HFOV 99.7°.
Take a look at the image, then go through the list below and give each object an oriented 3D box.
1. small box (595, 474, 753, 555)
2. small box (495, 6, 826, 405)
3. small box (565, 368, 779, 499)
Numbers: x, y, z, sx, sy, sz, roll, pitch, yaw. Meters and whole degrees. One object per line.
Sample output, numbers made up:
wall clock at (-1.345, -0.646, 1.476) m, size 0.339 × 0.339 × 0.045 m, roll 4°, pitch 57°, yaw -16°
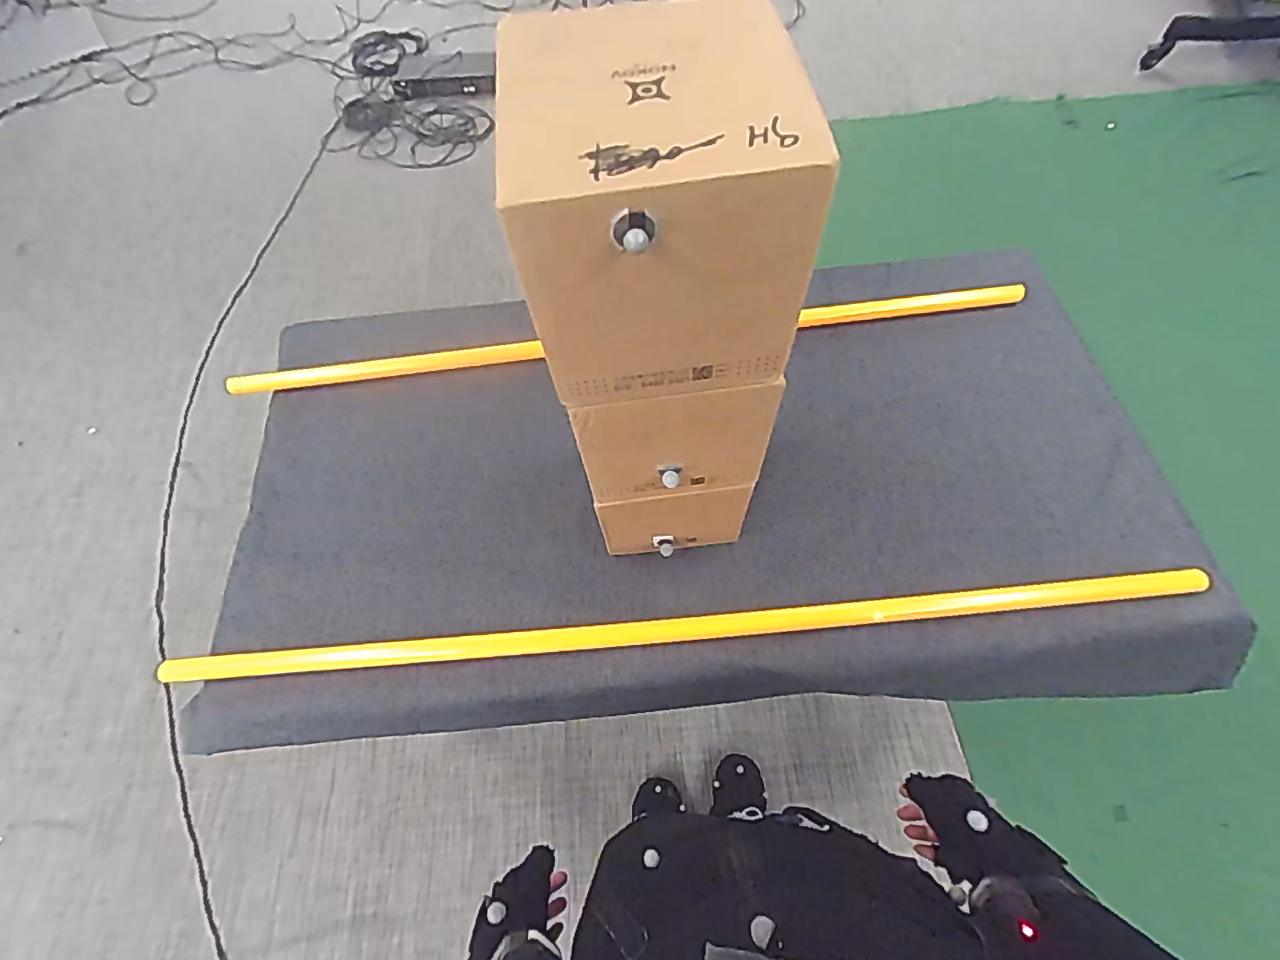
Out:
small box at (0.031, -0.024, 0.662) m, size 0.168 × 0.176 × 0.179 m, roll -8°, pitch 64°, yaw 1°
small box at (0.008, -0.176, 0.373) m, size 0.168 × 0.176 × 0.179 m, roll -8°, pitch 62°, yaw 1°
small box at (0.022, -0.100, 0.517) m, size 0.168 × 0.176 × 0.179 m, roll -7°, pitch 63°, yaw 1°
